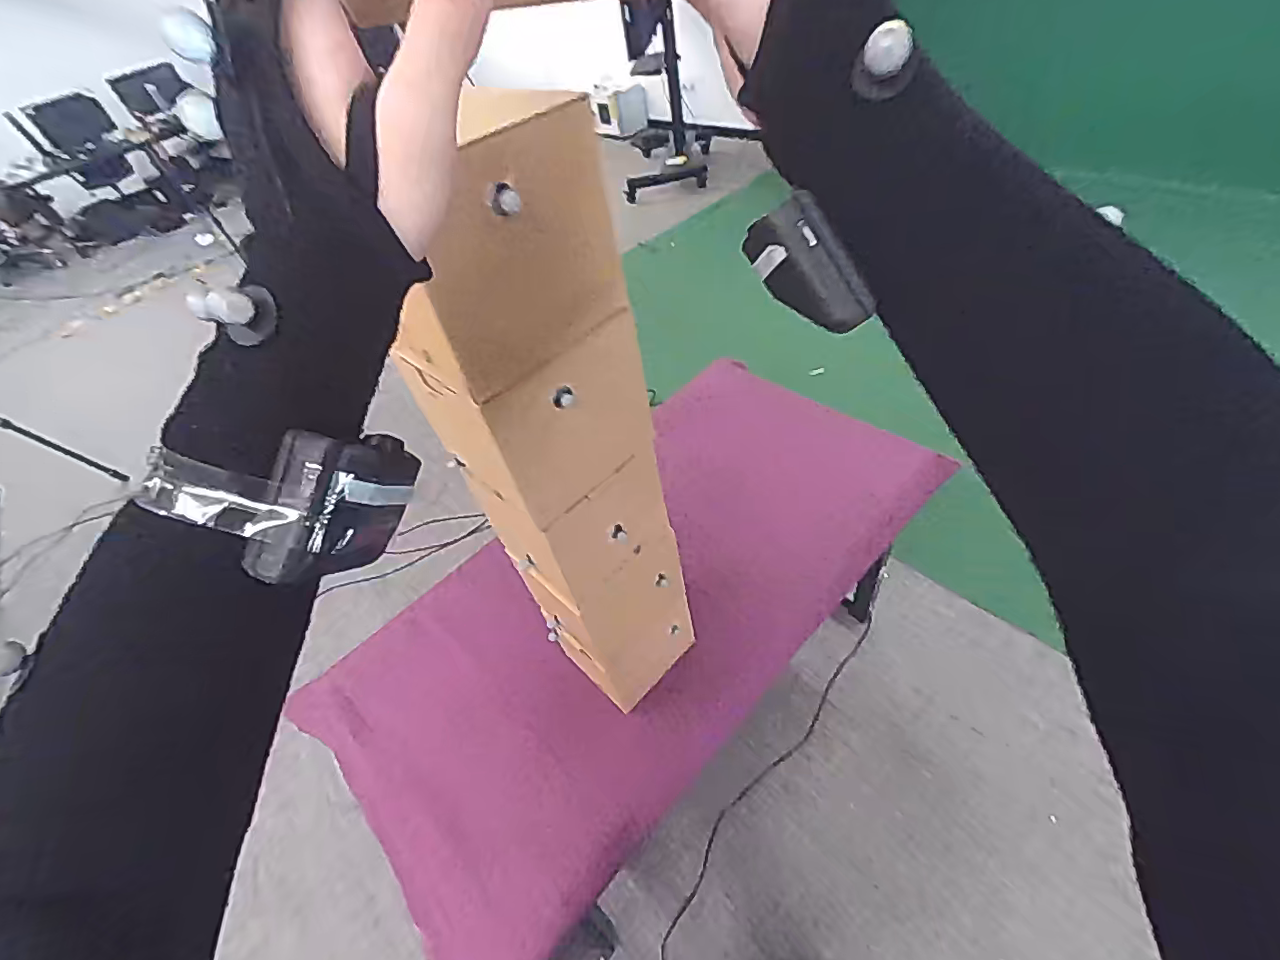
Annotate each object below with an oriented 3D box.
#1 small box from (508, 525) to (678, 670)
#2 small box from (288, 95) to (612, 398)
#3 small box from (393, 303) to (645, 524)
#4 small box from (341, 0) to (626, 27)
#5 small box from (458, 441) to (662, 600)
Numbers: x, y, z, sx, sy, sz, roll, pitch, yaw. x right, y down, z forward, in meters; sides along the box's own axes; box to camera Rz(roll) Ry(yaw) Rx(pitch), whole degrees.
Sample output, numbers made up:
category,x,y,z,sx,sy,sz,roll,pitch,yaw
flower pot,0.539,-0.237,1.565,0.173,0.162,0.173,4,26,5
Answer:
category,x,y,z,sx,sy,sz,roll,pitch,yaw
small box,-0.058,0.140,0.800,0.179,0.176,0.168,-40,51,-23
small box,-0.140,-0.200,0.458,0.168,0.176,0.179,31,60,35
small box,-0.113,-0.085,0.569,0.168,0.176,0.179,31,59,35
small box,-0.072,-0.325,0.209,0.179,0.176,0.168,-33,83,-26
small box,-0.090,0.026,0.688,0.179,0.176,0.168,31,60,34
